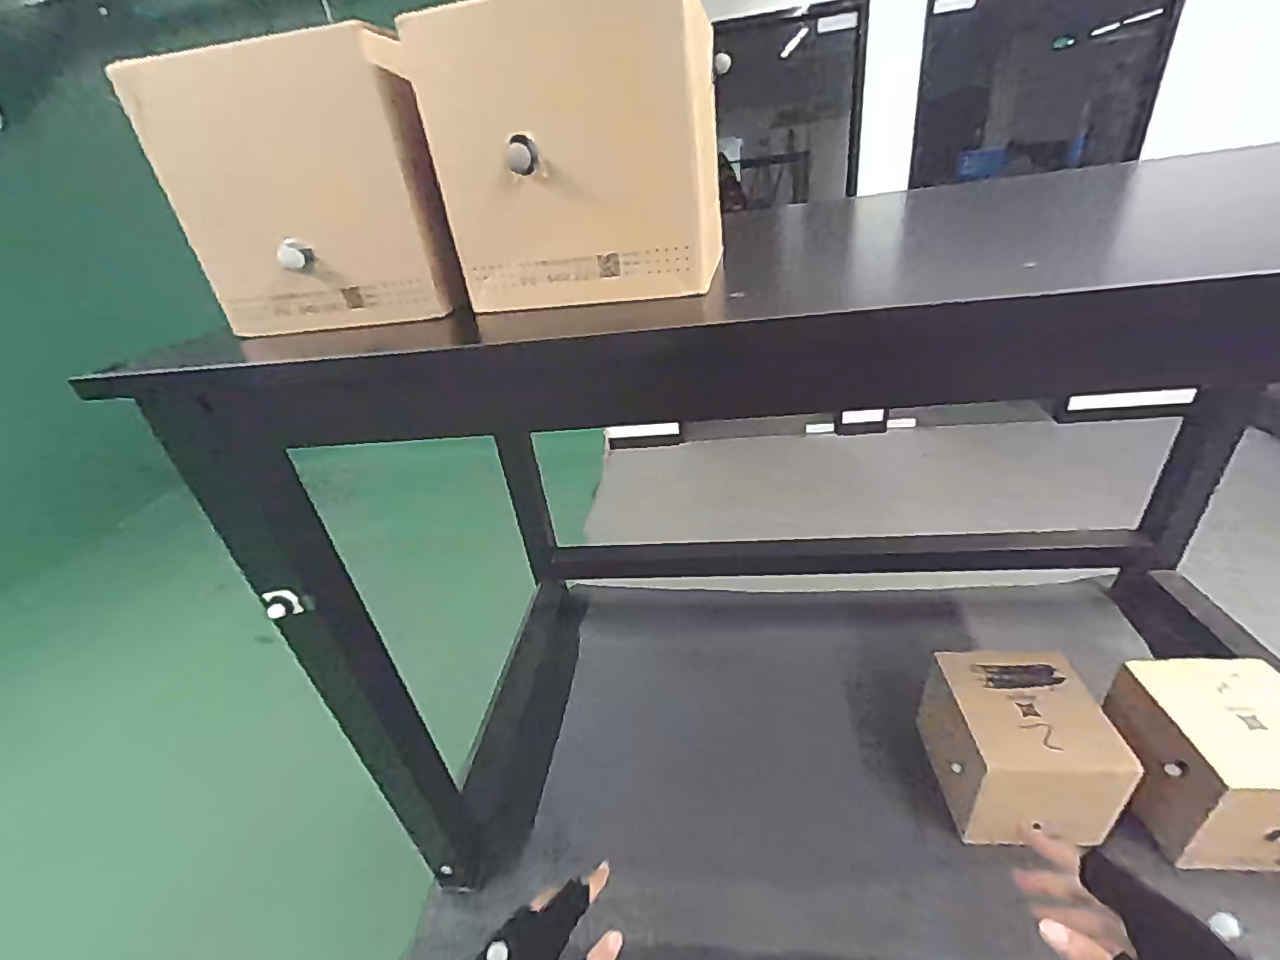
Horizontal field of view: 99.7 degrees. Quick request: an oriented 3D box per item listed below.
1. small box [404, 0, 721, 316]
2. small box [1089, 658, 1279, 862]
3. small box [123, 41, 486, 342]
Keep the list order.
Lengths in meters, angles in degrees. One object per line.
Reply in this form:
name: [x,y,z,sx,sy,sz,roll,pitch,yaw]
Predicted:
small box: [-0.030,-0.223,0.398,0.168,0.176,0.179,-1,30,13]
small box: [0.724,0.351,0.681,0.168,0.176,0.179,-4,29,8]
small box: [-0.218,-0.217,0.427,0.168,0.176,0.179,-3,31,8]
